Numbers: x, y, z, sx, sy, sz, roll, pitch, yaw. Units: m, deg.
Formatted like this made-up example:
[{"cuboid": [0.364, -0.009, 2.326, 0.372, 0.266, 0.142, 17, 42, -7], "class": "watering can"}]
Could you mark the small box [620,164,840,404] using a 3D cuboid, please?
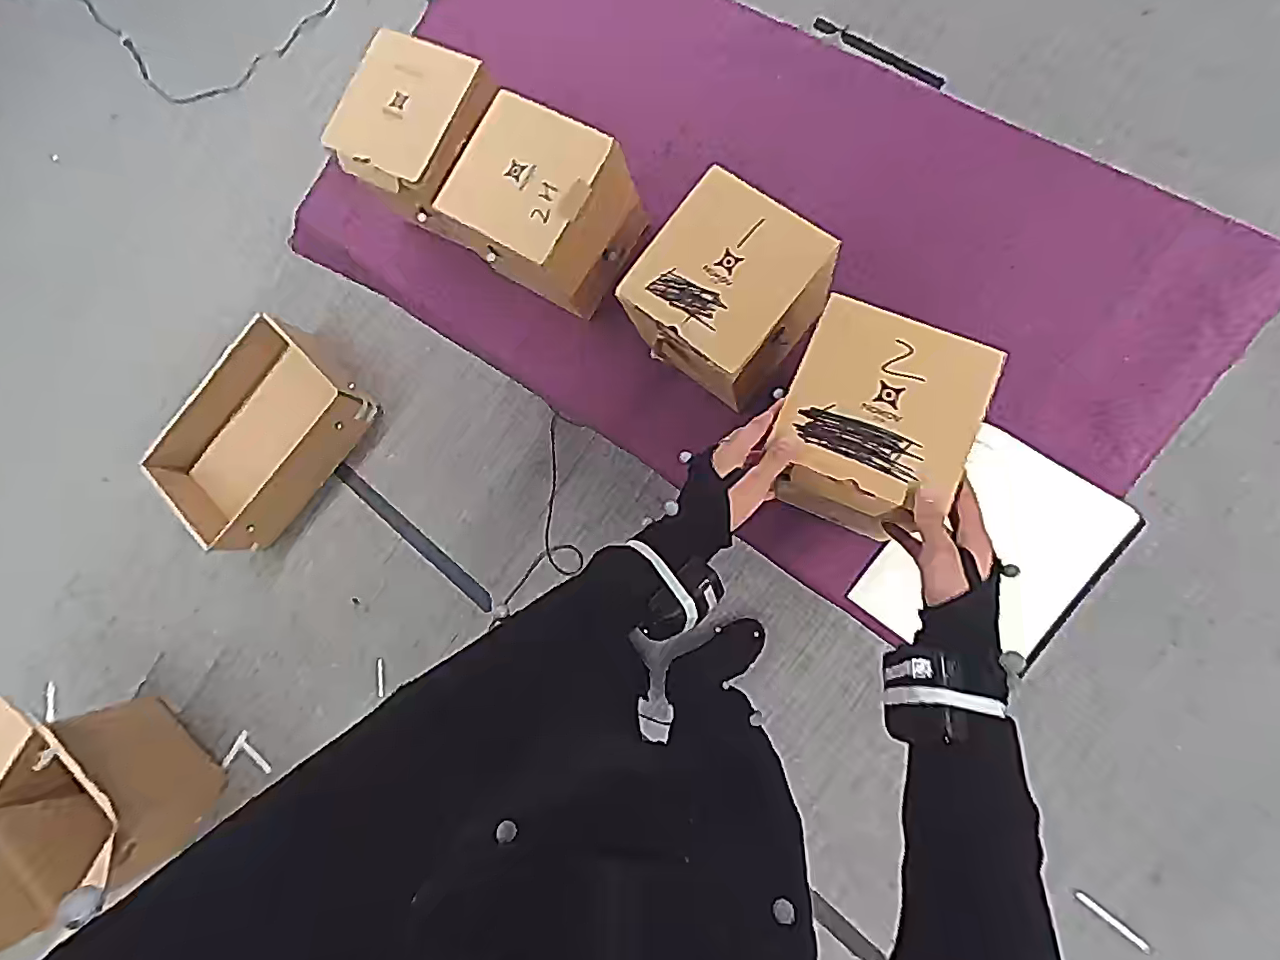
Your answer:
[{"cuboid": [0.108, -0.215, 0.643, 0.168, 0.176, 0.179, 40, 93, 13], "class": "small box"}]

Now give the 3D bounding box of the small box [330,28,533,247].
[{"cuboid": [-0.277, -0.464, 0.758, 0.168, 0.176, 0.179, 29, 91, 13], "class": "small box"}]
